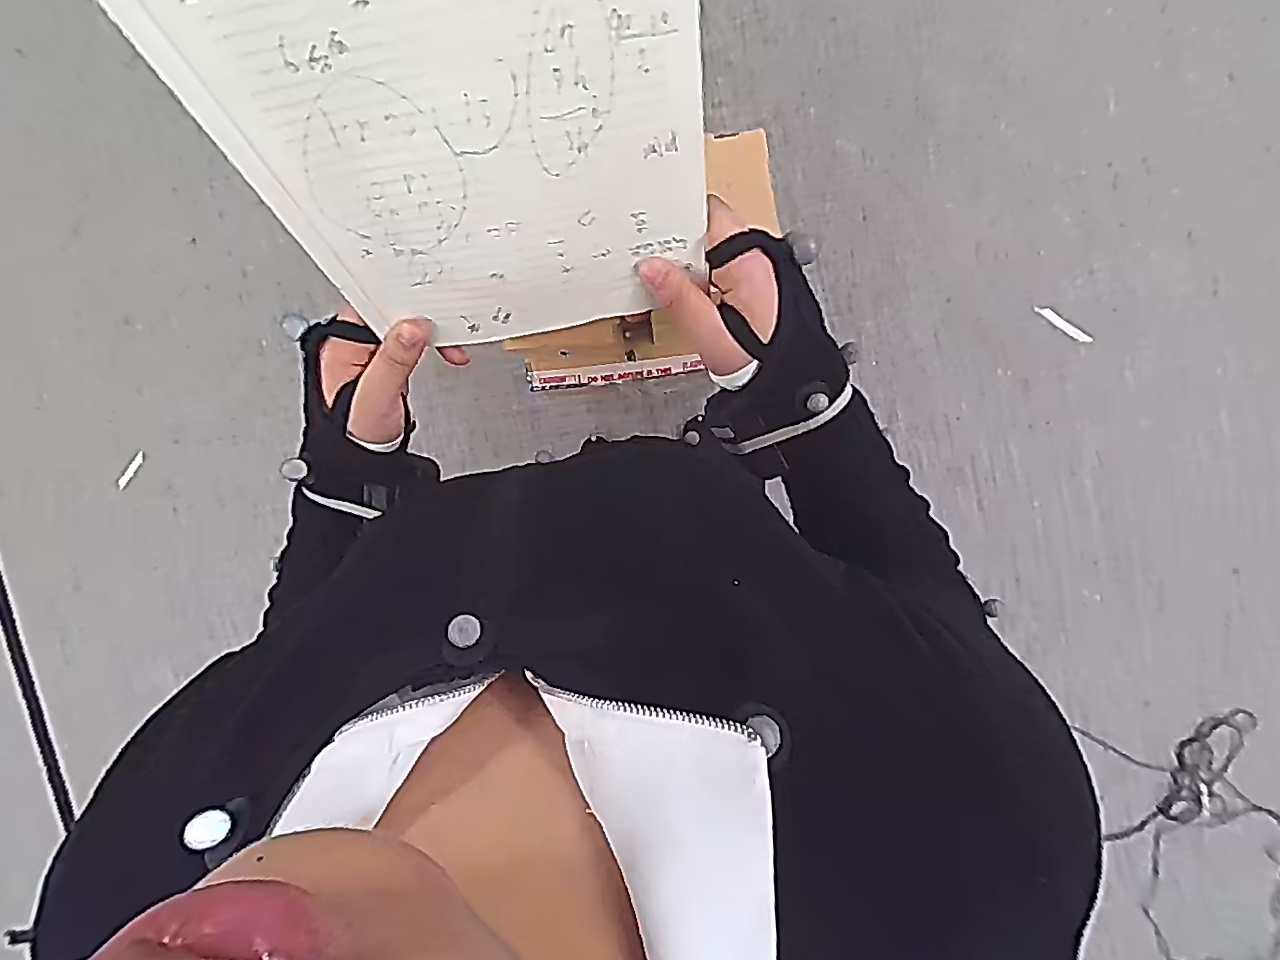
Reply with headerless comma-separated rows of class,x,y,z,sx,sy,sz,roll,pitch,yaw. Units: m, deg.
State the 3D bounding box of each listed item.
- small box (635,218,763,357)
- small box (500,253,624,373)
small box,0.092,-0.310,0.905,0.179,0.176,0.168,-12,96,3
small box,-0.122,-0.274,0.919,0.179,0.176,0.168,-3,97,5
